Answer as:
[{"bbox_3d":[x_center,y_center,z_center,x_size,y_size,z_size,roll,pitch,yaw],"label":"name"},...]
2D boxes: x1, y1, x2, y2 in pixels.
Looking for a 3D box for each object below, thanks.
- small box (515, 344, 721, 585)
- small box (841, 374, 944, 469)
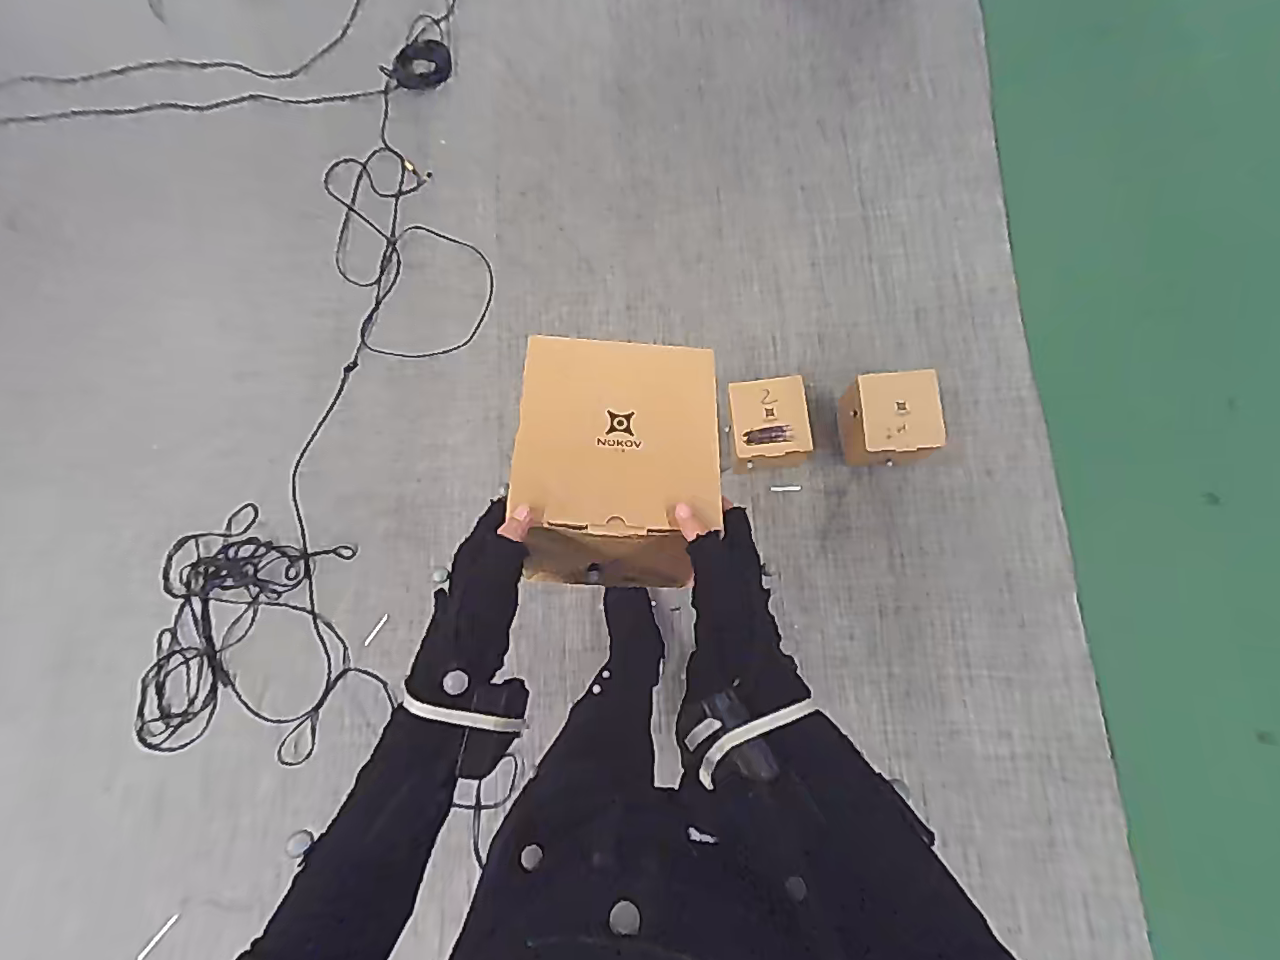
[{"bbox_3d":[-0.023,-0.006,0.529,0.168,0.176,0.179,3,66,-5],"label":"small box"},{"bbox_3d":[0.573,-0.130,1.250,0.168,0.176,0.179,-3,80,7],"label":"small box"}]
